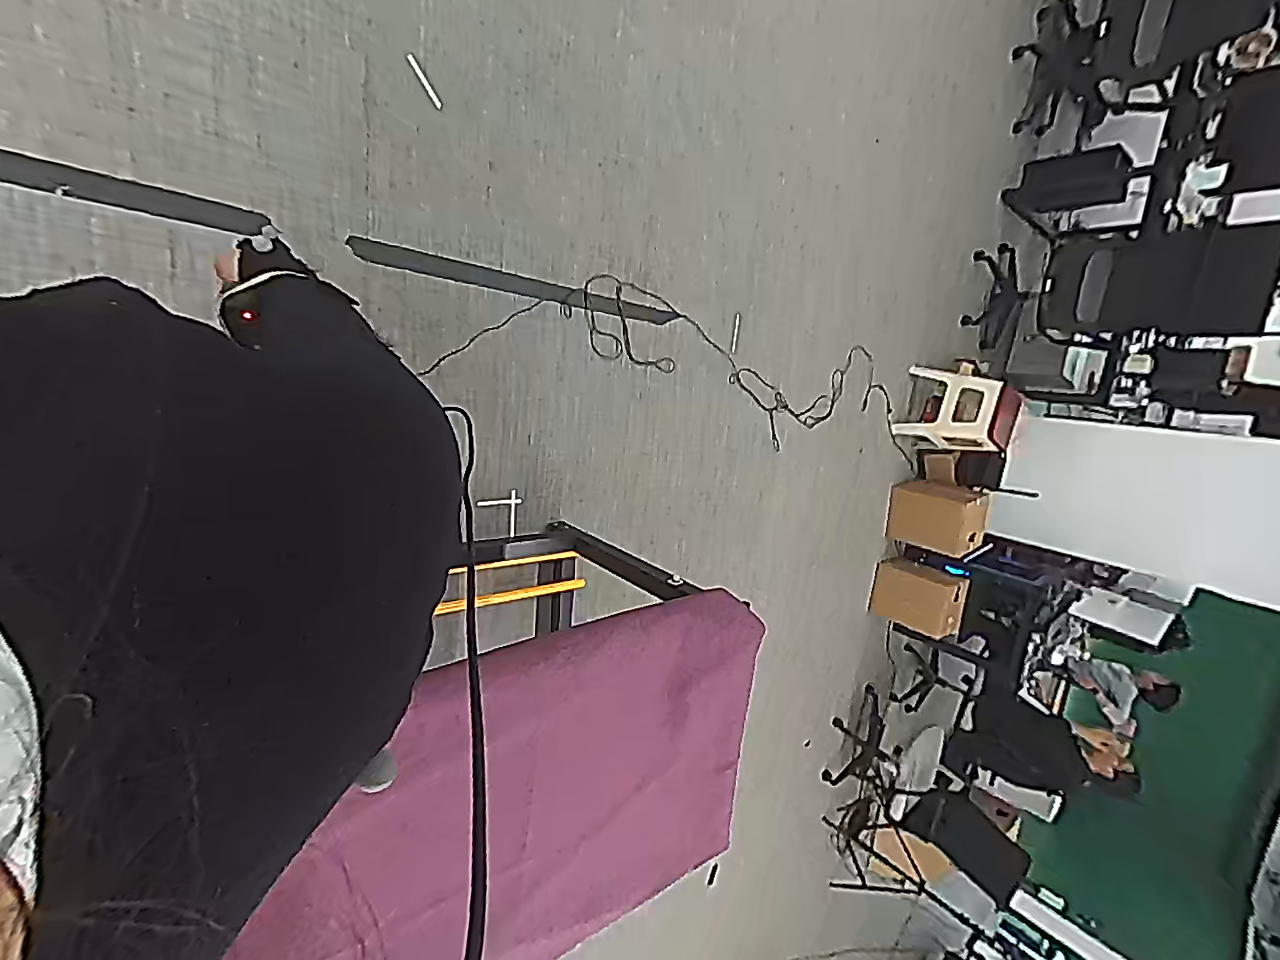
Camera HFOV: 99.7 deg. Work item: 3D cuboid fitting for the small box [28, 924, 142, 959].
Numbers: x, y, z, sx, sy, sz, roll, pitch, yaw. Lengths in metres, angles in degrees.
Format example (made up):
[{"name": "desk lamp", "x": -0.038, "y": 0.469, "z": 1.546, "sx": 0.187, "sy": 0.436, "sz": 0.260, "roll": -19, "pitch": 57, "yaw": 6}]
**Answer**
[{"name": "small box", "x": -0.546, "y": 0.541, "z": 0.456, "sx": 0.179, "sy": 0.176, "sz": 0.168, "roll": 5, "pitch": 100, "yaw": -41}]
